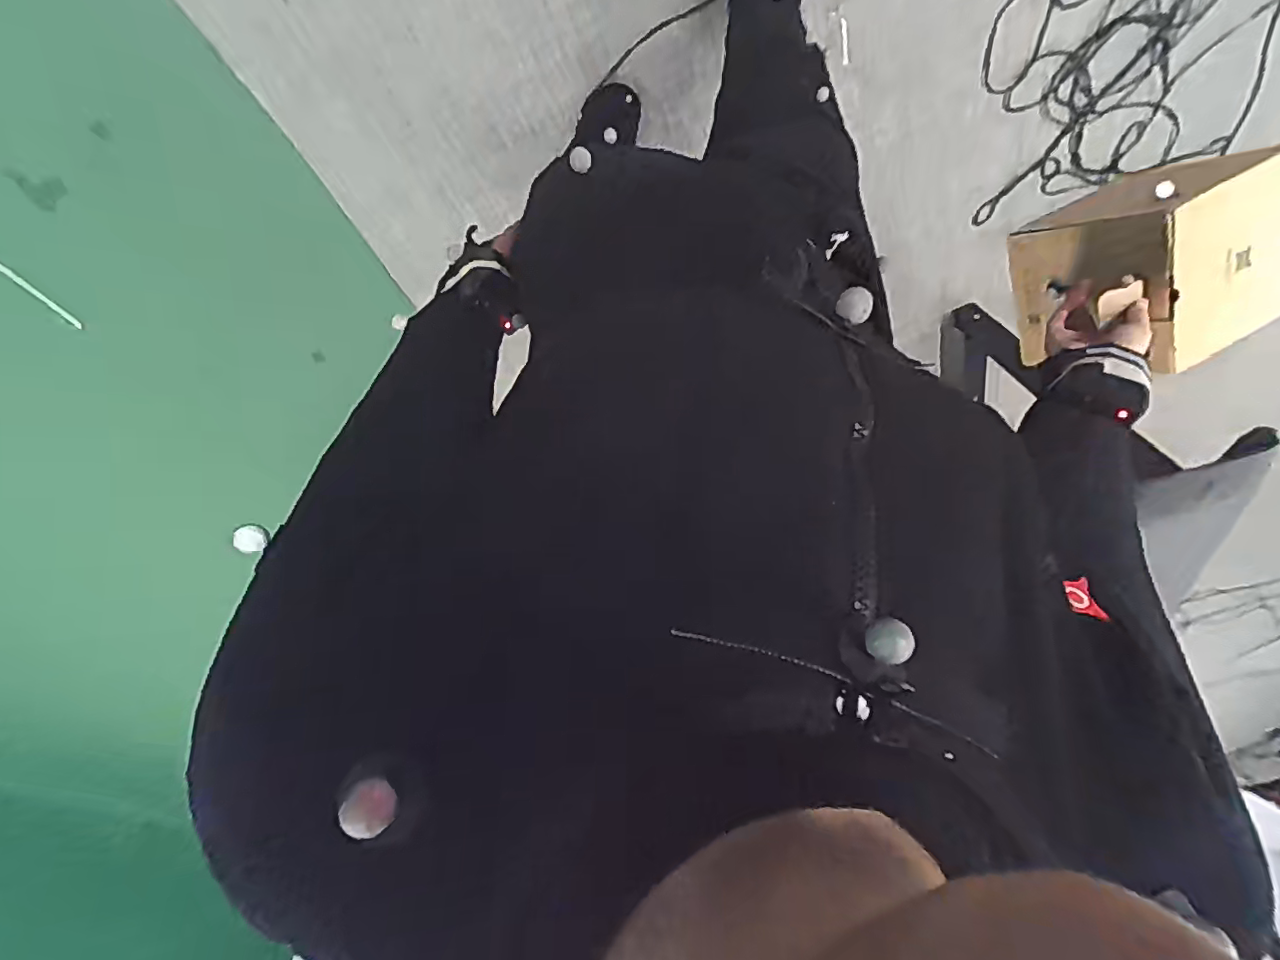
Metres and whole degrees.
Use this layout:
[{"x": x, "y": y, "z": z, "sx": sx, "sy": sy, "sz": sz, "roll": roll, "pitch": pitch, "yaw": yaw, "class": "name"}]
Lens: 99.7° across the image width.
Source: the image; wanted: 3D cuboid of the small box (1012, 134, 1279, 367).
[{"x": 0.551, "y": -0.241, "z": 0.582, "sx": 0.179, "sy": 0.176, "sz": 0.168, "roll": -29, "pitch": 112, "yaw": -6, "class": "small box"}]
